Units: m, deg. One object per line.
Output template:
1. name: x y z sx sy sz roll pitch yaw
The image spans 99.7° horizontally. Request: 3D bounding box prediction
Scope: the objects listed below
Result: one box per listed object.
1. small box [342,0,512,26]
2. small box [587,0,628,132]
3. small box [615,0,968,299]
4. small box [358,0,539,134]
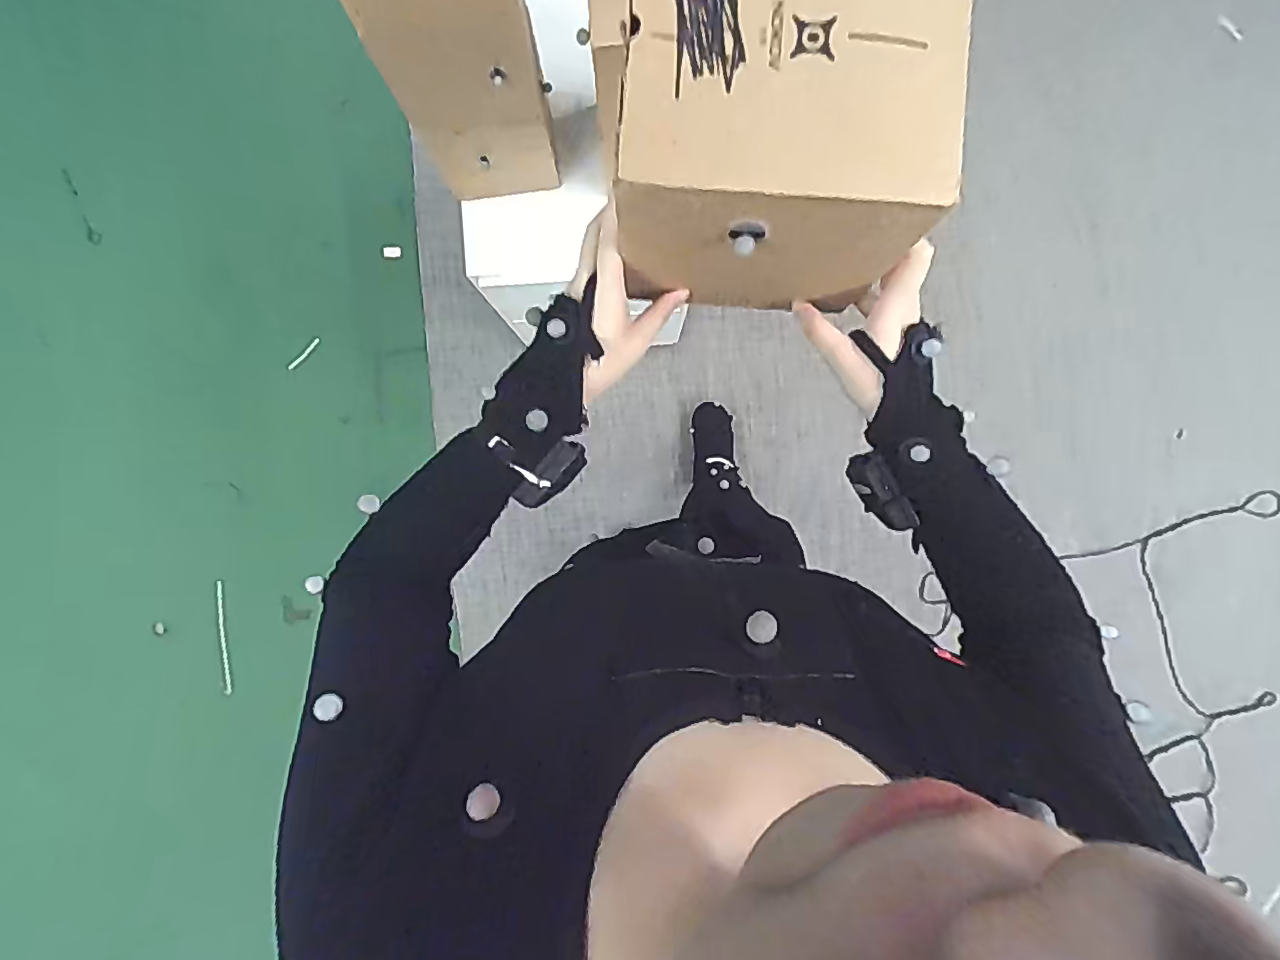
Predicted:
1. small box: -0.222 -0.561 0.489 0.179 0.176 0.168 -9 90 -2
2. small box: 0.024 -0.547 0.650 0.168 0.176 0.179 -4 90 0
3. small box: 0.081 -0.230 0.356 0.179 0.176 0.168 4 90 0
4. small box: -0.225 -0.557 0.652 0.179 0.176 0.168 -10 89 -1
